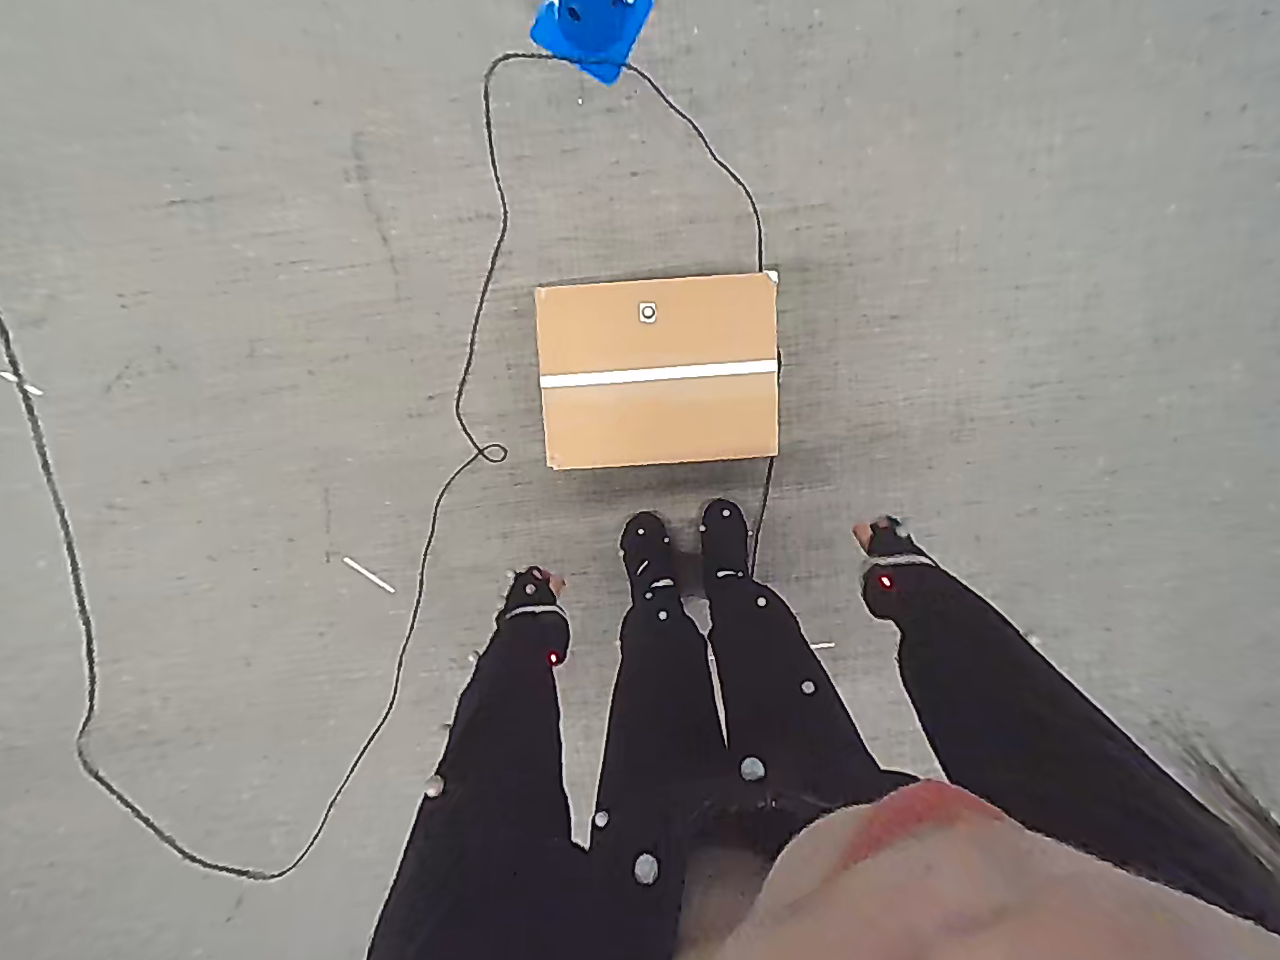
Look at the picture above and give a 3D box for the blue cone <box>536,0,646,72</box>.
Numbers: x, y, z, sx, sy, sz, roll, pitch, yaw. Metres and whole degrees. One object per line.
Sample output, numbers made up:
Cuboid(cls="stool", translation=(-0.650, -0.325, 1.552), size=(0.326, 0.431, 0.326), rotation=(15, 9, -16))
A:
Cuboid(cls="blue cone", translation=(-0.095, -0.916, 0.914), size=(0.192, 0.380, 0.193), rotation=(26, 97, -5))
